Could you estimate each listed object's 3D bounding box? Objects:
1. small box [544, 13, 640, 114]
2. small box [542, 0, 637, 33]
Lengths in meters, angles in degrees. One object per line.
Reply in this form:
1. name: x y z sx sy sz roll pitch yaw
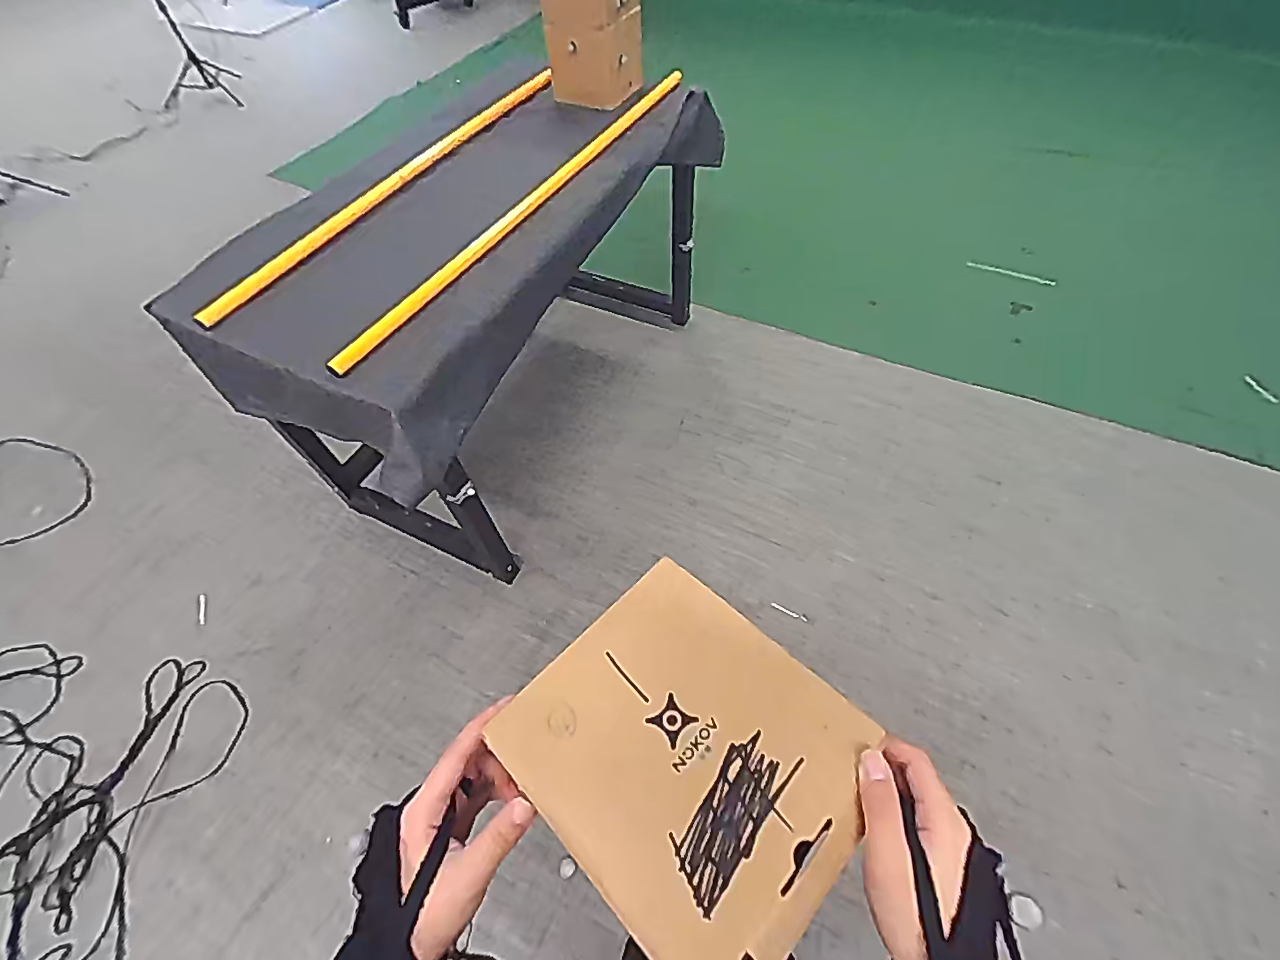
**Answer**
1. small box: -0.111 -1.050 1.356 0.179 0.176 0.168 22 61 18
2. small box: -0.119 -1.145 1.224 0.179 0.176 0.168 21 61 16
